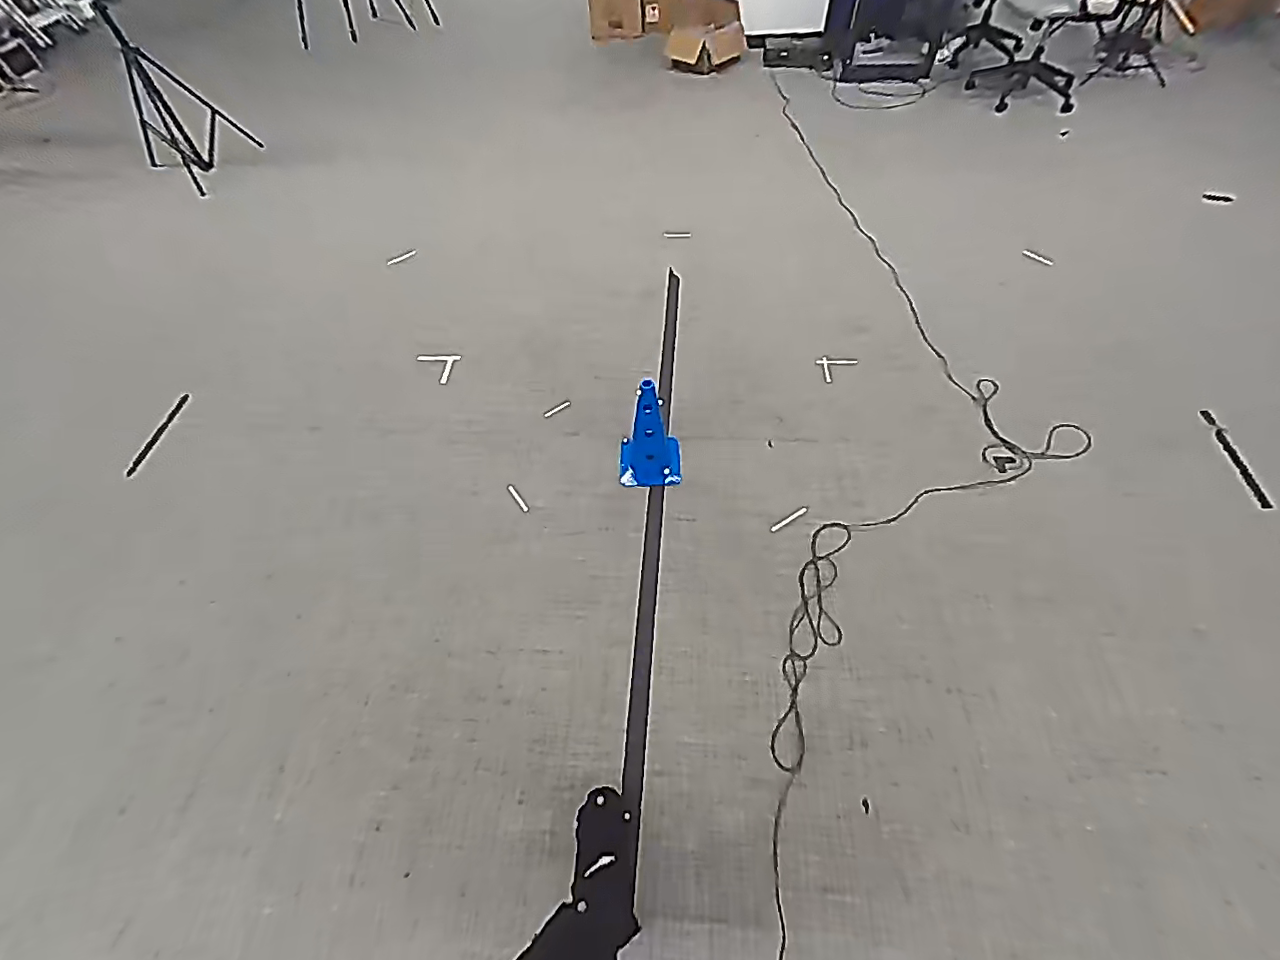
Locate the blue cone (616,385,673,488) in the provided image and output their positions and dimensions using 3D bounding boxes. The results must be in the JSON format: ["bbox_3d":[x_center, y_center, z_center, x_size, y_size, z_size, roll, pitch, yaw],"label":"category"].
[{"bbox_3d":[0.008,-0.150,1.685,0.192,0.380,0.193,-1,53,3],"label":"blue cone"}]
